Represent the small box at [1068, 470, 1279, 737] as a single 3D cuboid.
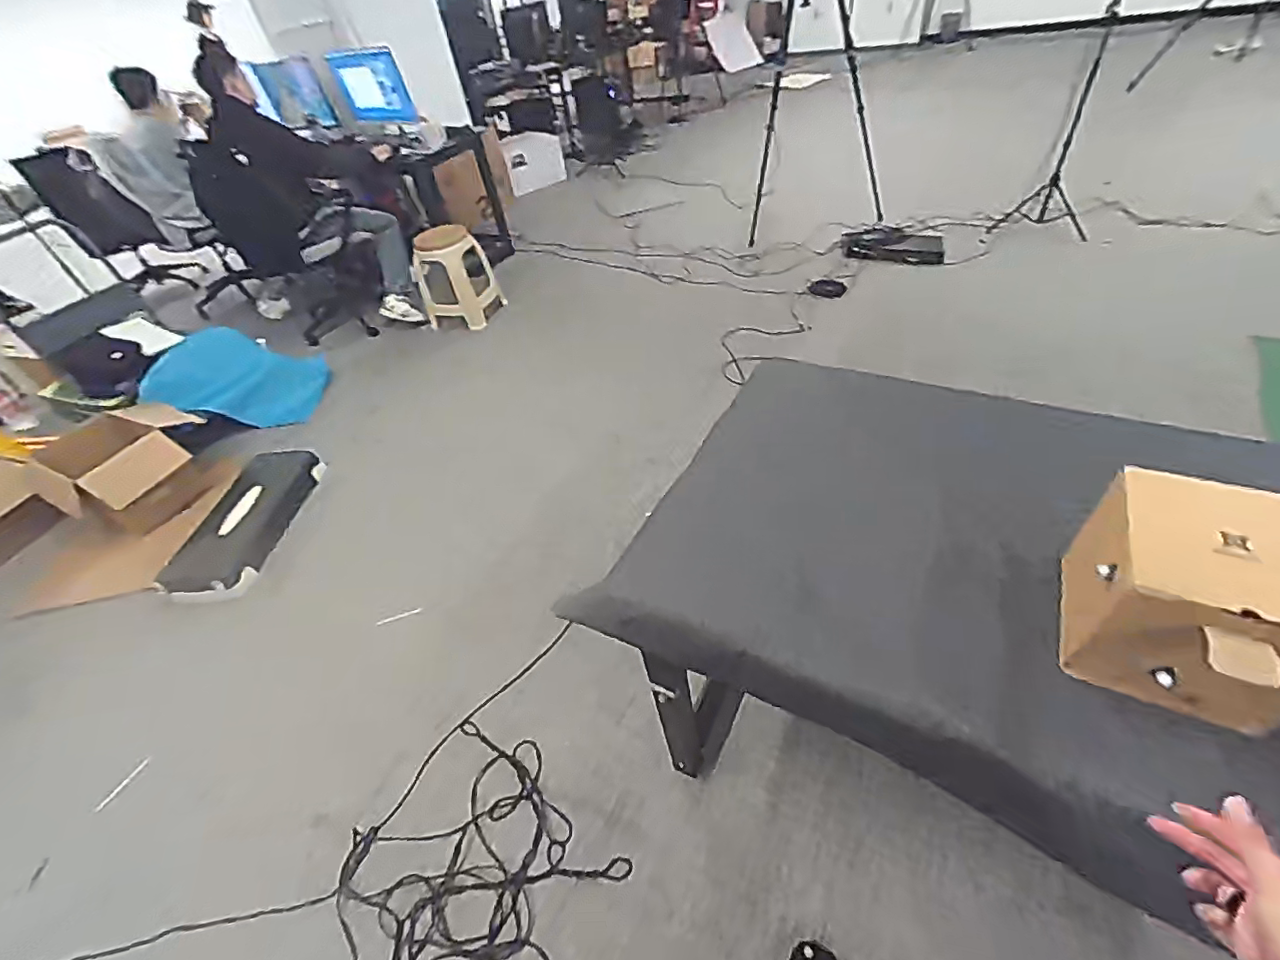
[{"bbox_3d":[0.570,0.123,0.555,0.168,0.176,0.179,16,49,25],"label":"small box"}]
